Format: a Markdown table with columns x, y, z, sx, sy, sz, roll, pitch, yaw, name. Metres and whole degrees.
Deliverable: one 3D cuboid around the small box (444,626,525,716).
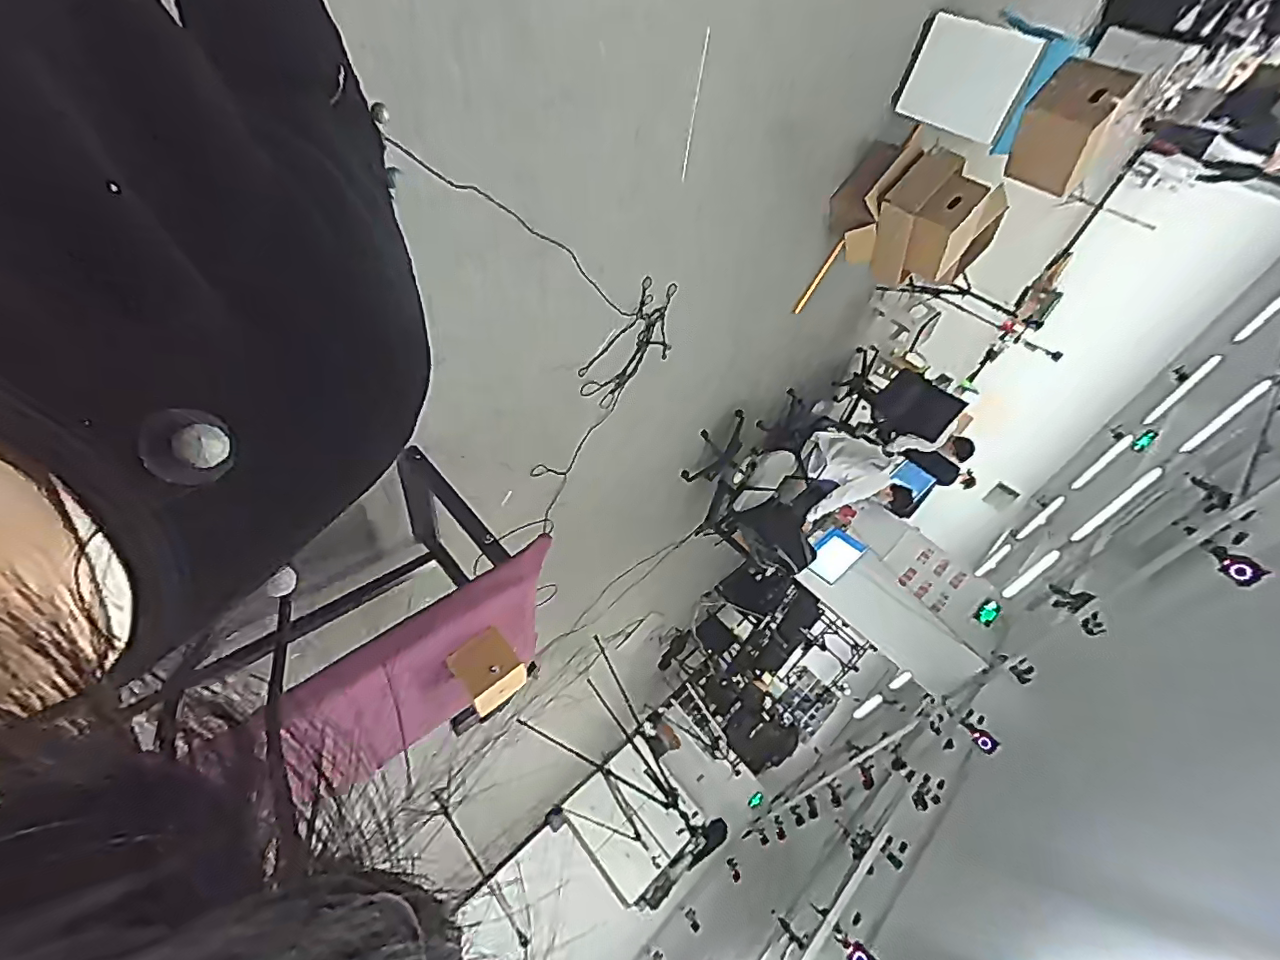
| x | y | z | sx | sy | sz | roll | pitch | yaw | name |
| --- | --- | --- | --- | --- | --- | --- | --- | --- | --- |
| -0.482 | 0.590 | 1.685 | 0.179 | 0.176 | 0.168 | -32 | 150 | -30 | small box |
